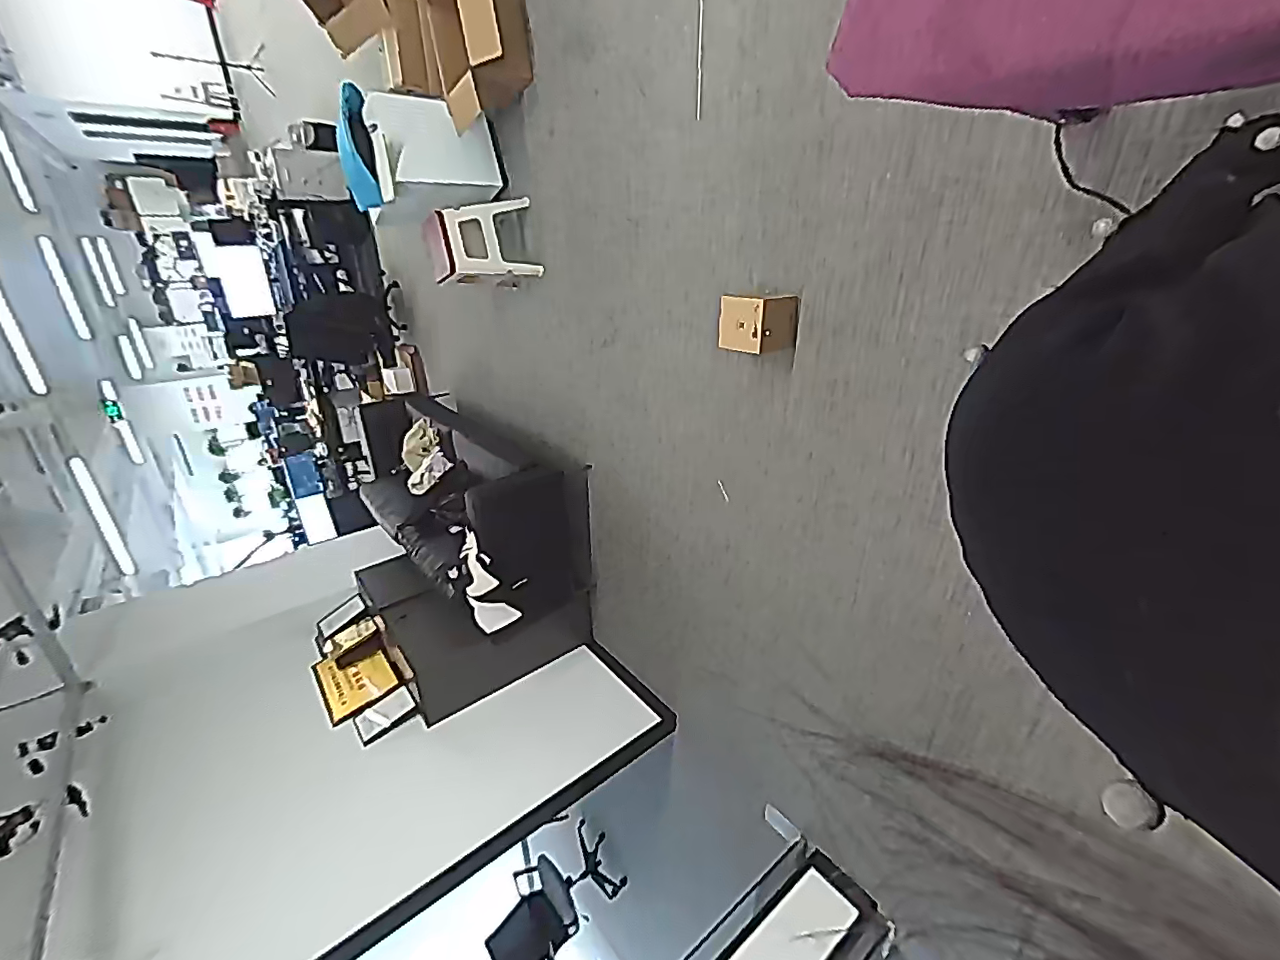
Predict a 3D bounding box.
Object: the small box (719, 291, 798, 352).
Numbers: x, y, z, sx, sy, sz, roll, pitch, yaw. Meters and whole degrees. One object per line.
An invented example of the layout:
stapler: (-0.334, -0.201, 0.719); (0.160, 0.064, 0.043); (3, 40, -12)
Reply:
small box: (0.382, -0.516, 1.750); (0.179, 0.176, 0.168); (28, 126, 46)
